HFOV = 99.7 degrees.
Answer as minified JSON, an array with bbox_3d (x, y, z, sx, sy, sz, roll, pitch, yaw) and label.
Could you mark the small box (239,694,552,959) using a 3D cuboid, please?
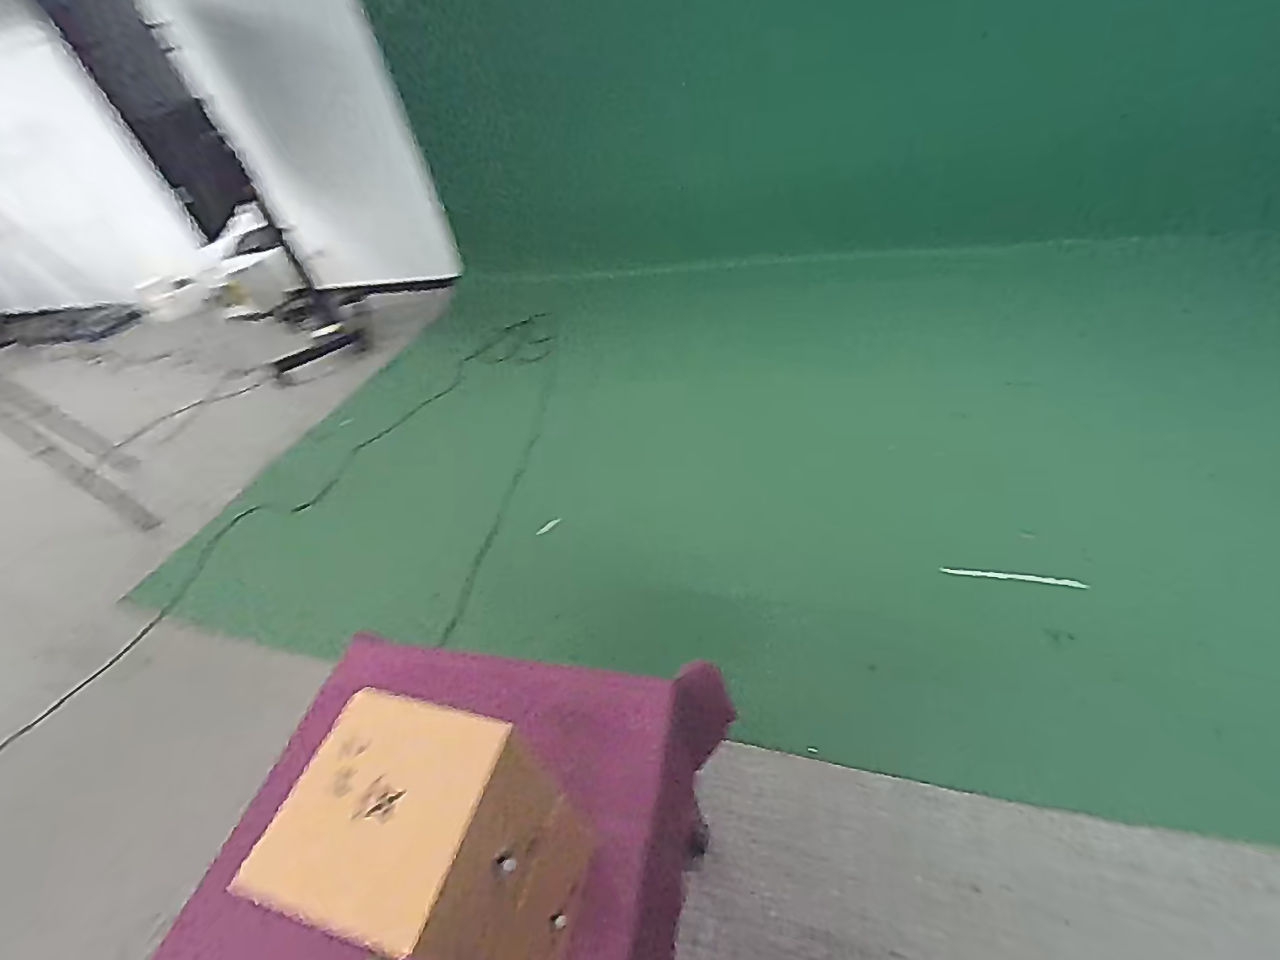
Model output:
[{"bbox_3d":[-0.205,0.332,0.511,0.179,0.176,0.168,3,43,19],"label":"small box"}]
